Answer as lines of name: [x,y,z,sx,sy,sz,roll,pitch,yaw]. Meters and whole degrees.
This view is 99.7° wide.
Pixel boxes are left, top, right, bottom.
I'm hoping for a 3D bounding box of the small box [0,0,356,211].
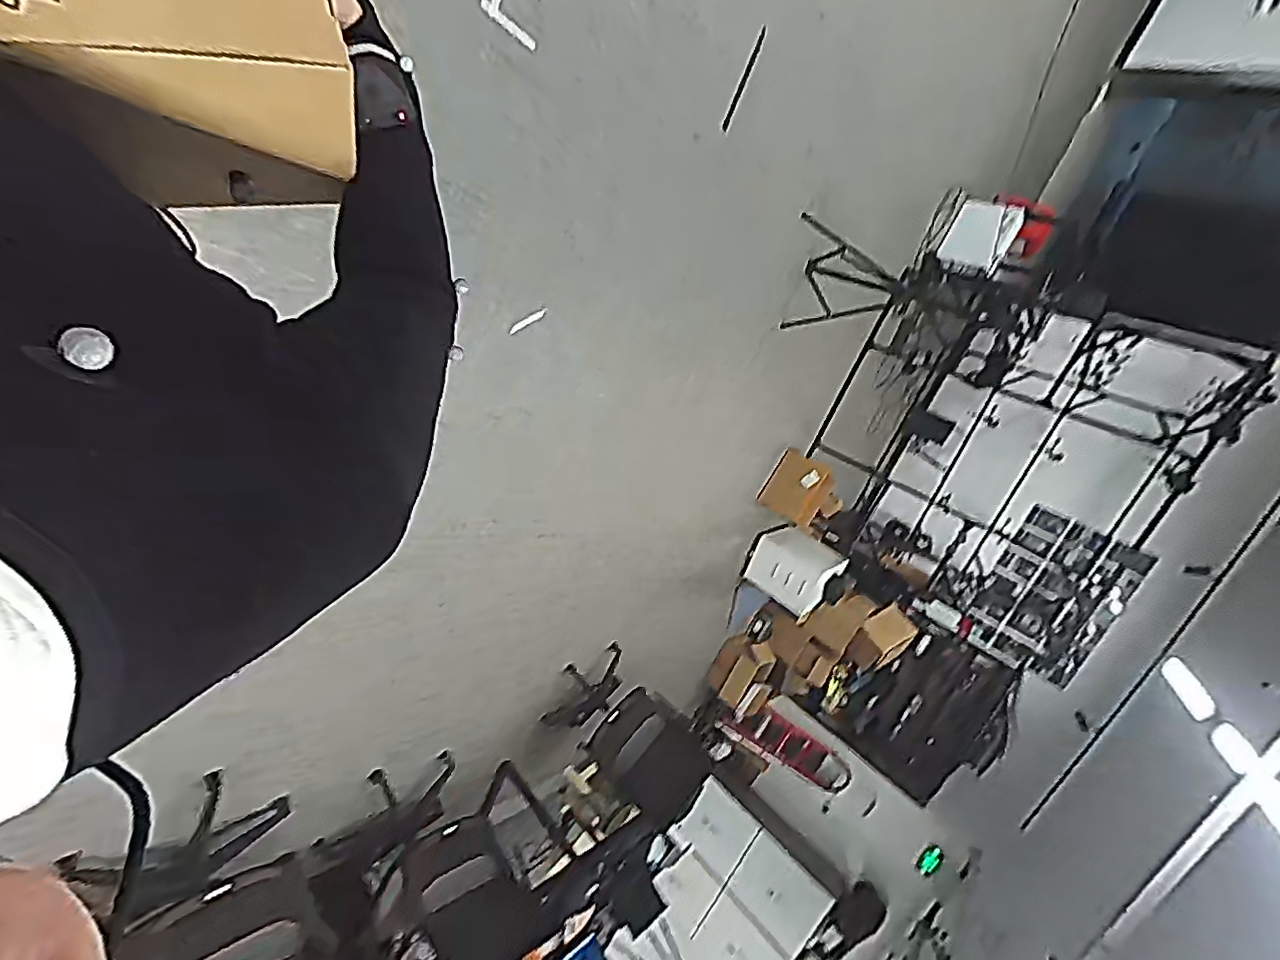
small box: [-0.323,-0.318,0.393,0.179,0.176,0.168,-16,92,-28]
